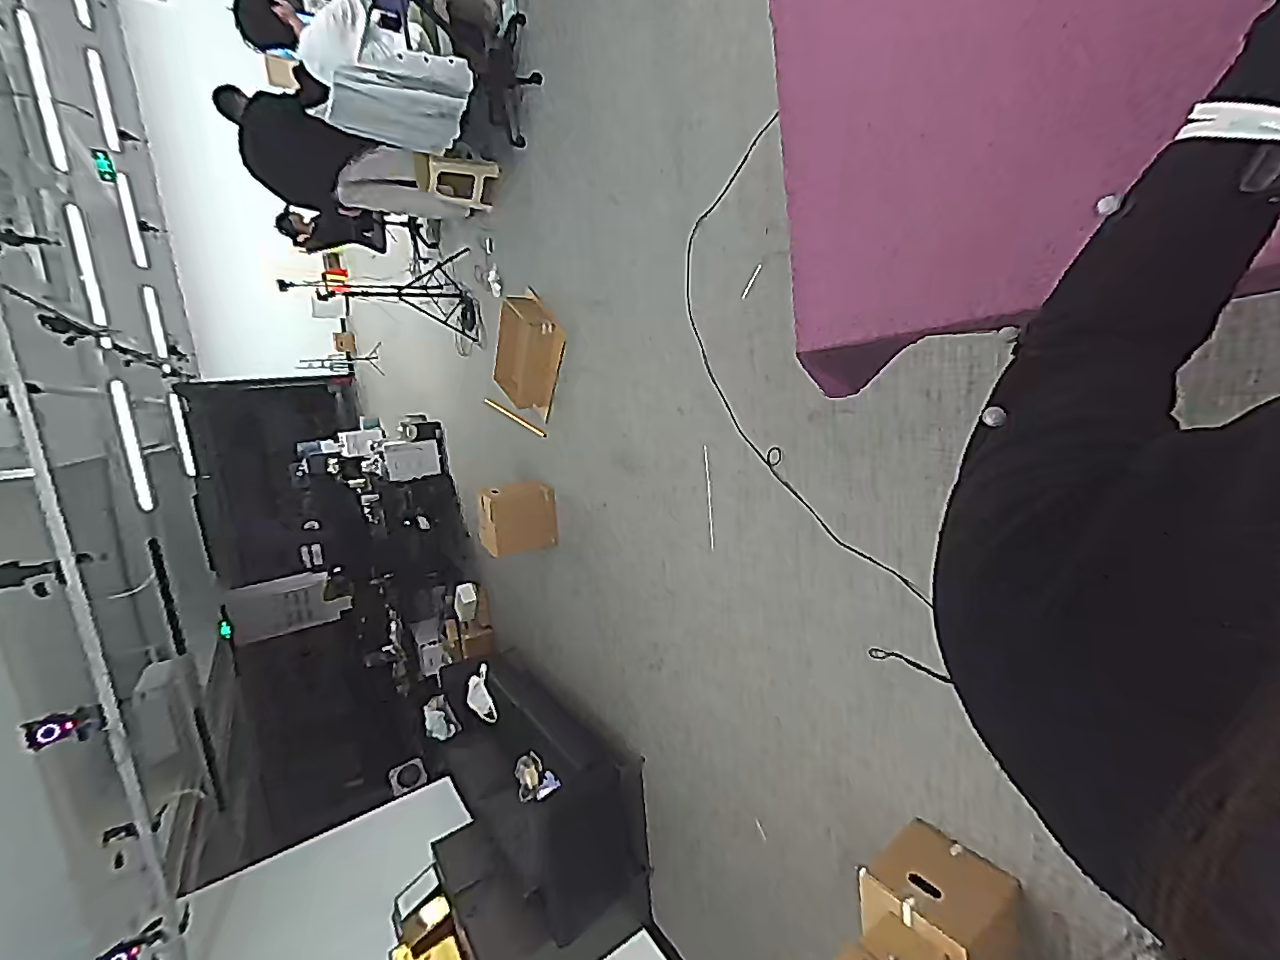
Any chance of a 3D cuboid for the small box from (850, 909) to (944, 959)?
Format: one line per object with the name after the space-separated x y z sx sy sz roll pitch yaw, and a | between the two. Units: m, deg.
0.704 1.335 1.480 0.179 0.176 0.168 5 104 54 | small box
